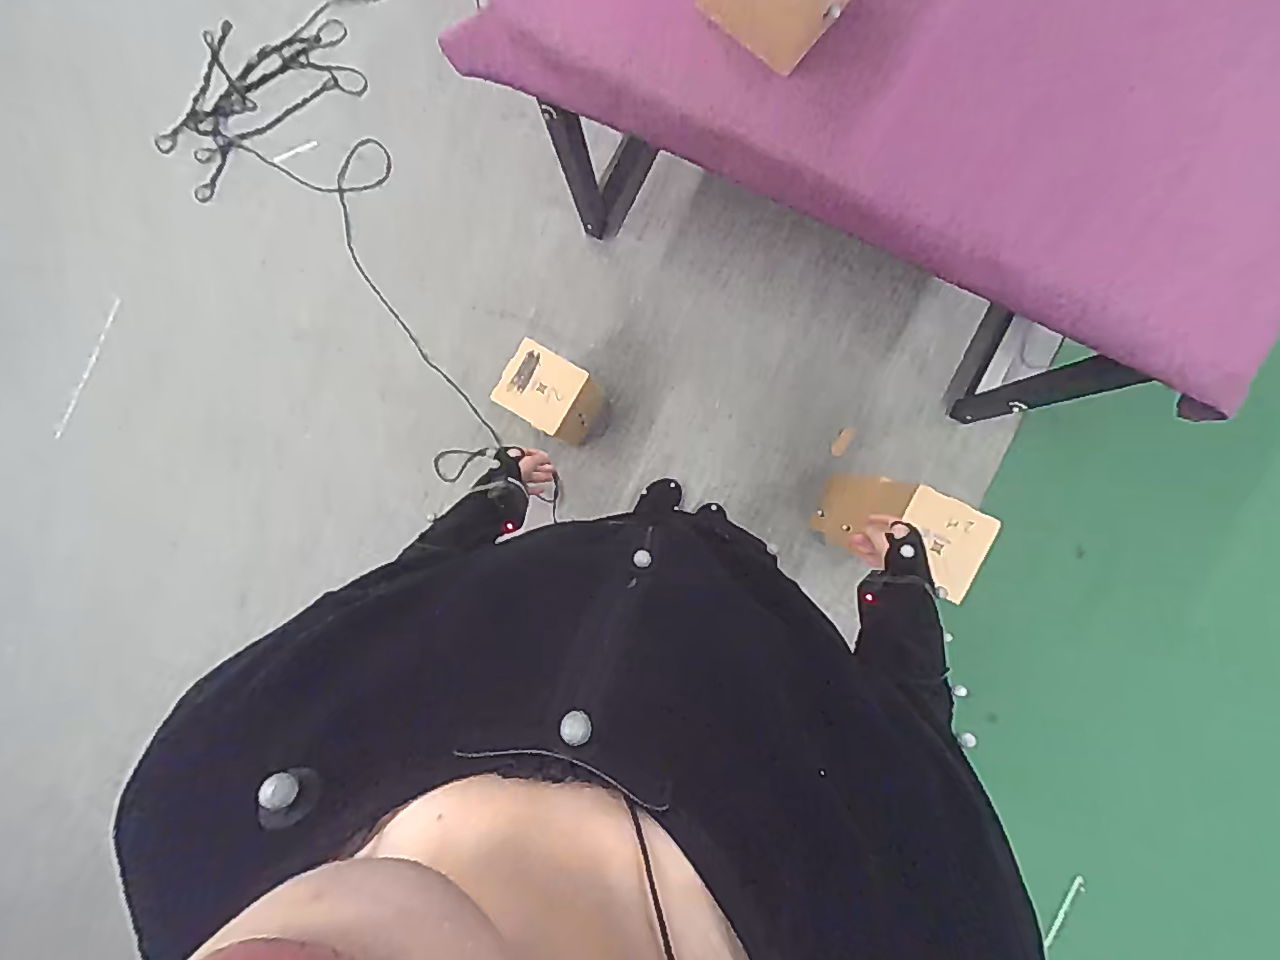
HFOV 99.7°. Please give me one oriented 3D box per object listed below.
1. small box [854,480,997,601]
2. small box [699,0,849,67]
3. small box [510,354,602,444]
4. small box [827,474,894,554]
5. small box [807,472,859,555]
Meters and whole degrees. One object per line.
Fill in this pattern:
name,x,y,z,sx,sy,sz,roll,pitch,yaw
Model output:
small box,0.552,0.112,1.078,0.168,0.176,0.179,26,92,3
small box,0.192,-0.706,0.710,0.179,0.176,0.168,40,92,2
small box,-0.216,-0.209,1.457,0.168,0.176,0.179,31,92,3
small box,0.555,0.097,1.242,0.168,0.176,0.179,26,93,3
small box,0.561,0.094,1.404,0.179,0.176,0.168,29,91,3
